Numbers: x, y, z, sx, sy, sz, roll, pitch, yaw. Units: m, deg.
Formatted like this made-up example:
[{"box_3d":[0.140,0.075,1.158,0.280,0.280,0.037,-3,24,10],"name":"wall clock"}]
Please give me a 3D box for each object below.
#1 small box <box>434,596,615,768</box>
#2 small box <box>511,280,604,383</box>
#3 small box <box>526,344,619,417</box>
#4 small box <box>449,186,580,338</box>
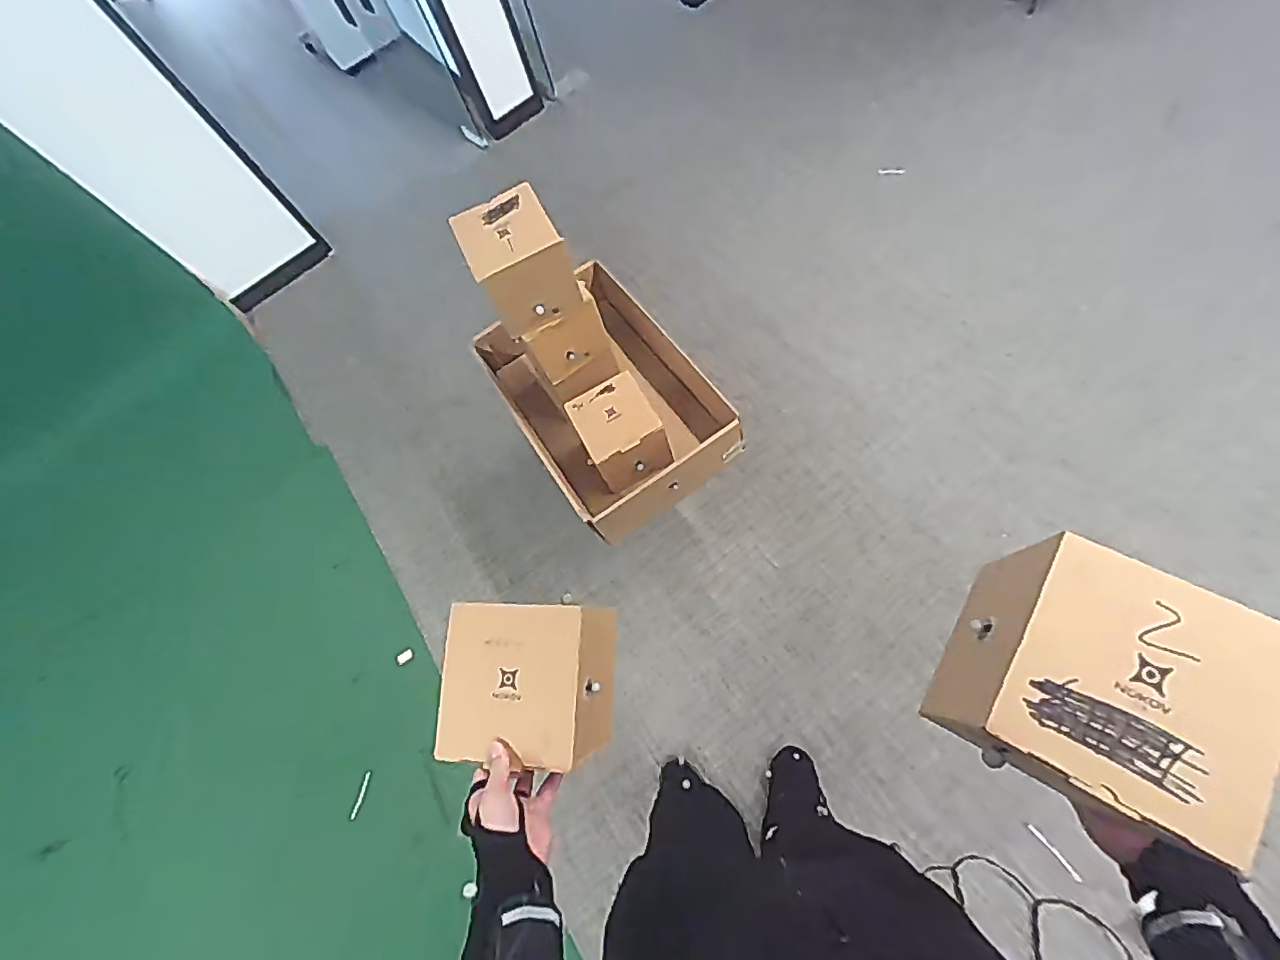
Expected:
[{"box_3d":[-0.133,0.242,0.689,0.168,0.176,0.179,0,76,12],"name":"small box"},{"box_3d":[-0.201,-0.349,1.186,0.168,0.176,0.179,-36,67,-5],"name":"small box"},{"box_3d":[-0.175,-0.289,1.335,0.168,0.176,0.179,-35,66,-4],"name":"small box"},{"box_3d":[-0.235,-0.411,1.038,0.168,0.176,0.179,-27,67,-1],"name":"small box"}]
